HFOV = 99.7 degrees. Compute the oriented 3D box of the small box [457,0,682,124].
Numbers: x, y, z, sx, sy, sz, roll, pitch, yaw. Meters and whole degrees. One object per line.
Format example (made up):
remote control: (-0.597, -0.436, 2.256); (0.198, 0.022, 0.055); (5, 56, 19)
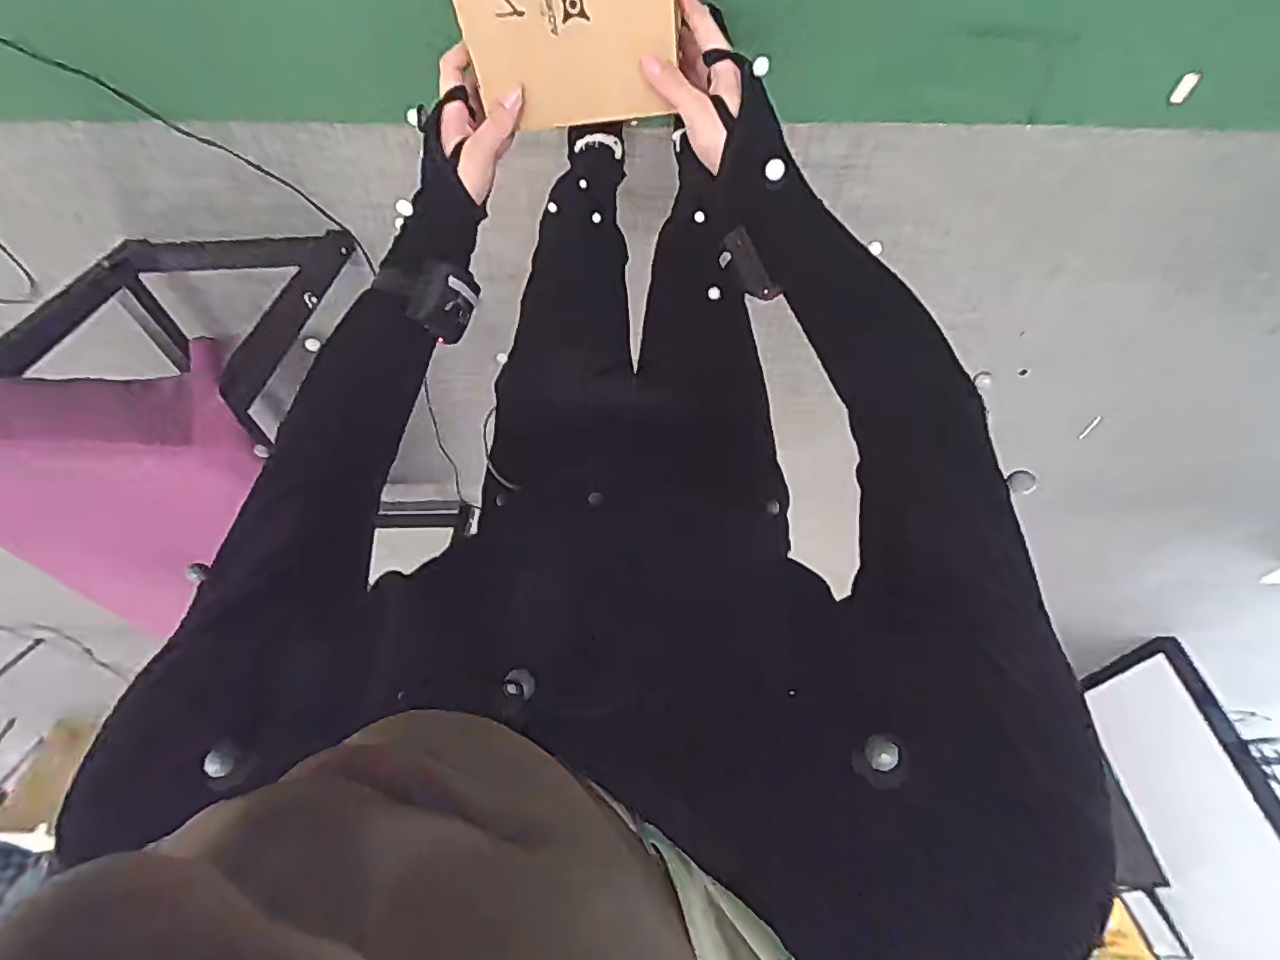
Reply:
small box: (-0.055, -0.441, 0.475); (0.179, 0.176, 0.168); (-1, 140, 7)
